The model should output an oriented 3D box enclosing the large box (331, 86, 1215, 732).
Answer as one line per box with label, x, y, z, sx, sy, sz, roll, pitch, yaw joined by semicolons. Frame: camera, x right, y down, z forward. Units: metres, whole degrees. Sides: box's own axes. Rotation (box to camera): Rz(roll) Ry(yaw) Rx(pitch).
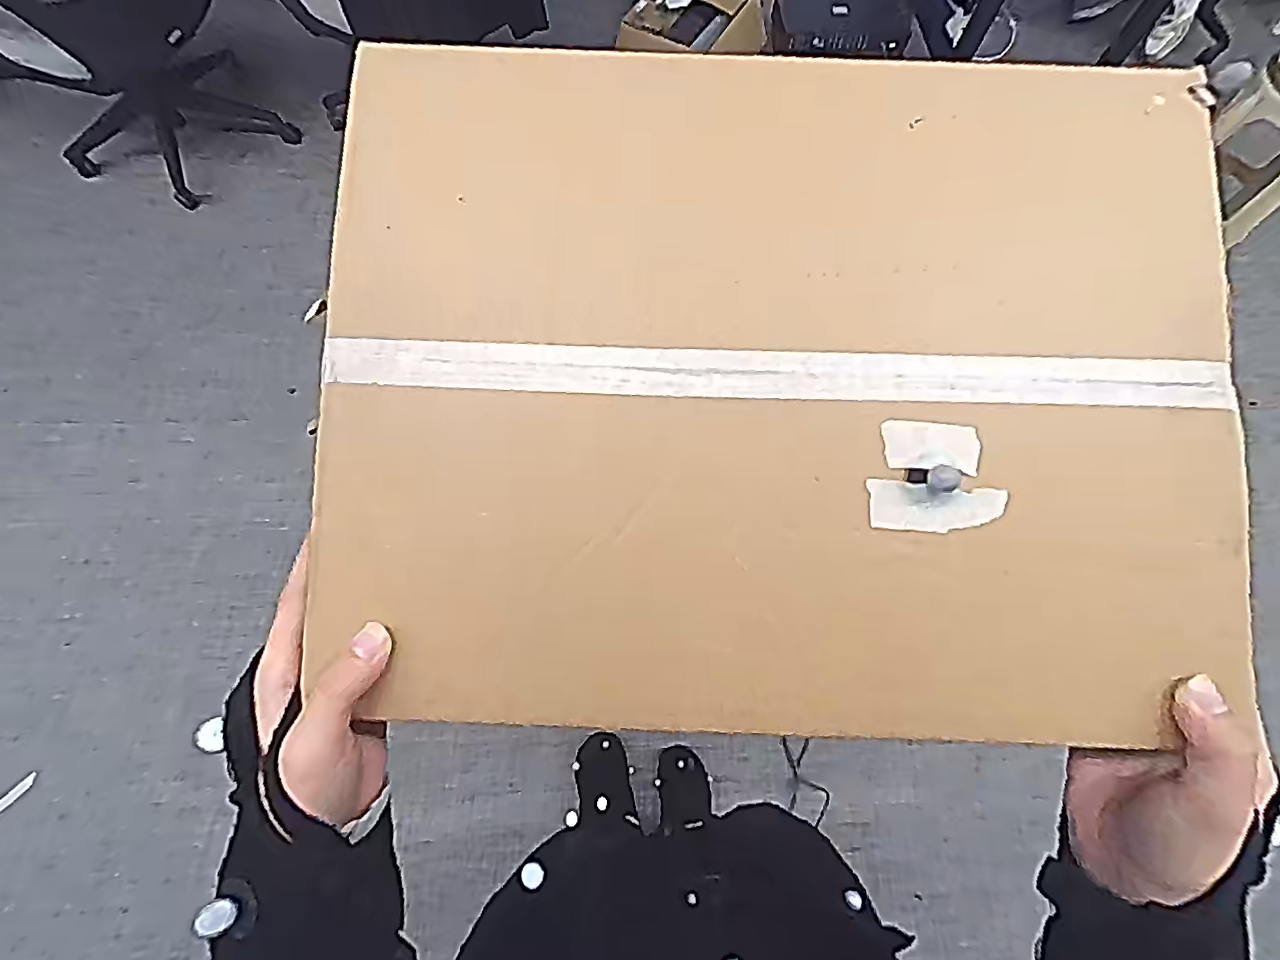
large box;0.059;-0.027;0.402;0.408;0.320;0.320;1;85;-1
